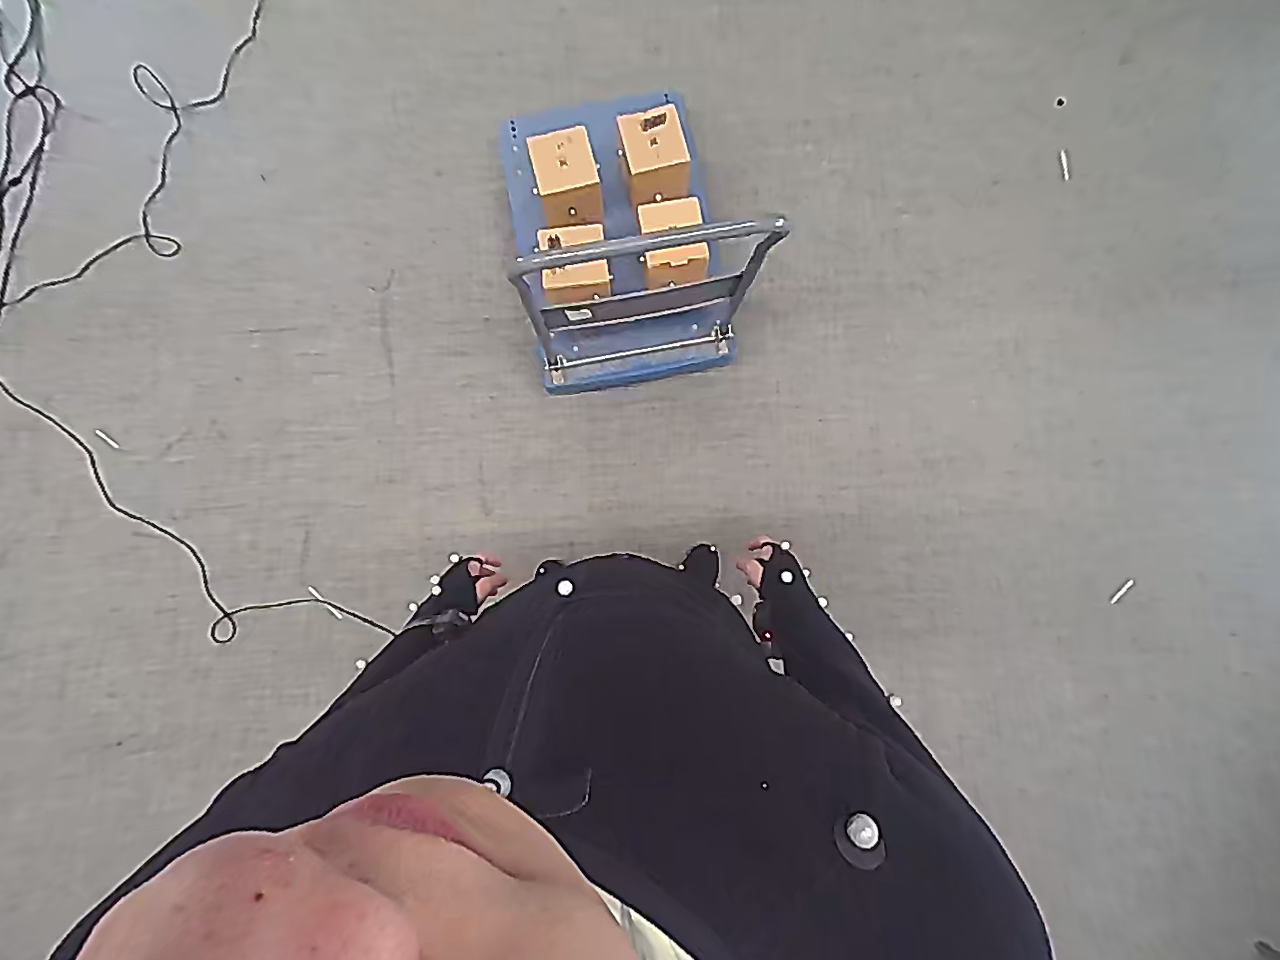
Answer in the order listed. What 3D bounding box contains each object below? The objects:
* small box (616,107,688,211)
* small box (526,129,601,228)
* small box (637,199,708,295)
[{"bbox_3d":[0.032,-0.913,1.549,0.168,0.176,0.179,-14,84,-1],"label":"small box"},{"bbox_3d":[-0.211,-0.848,1.541,0.168,0.176,0.179,-14,83,-3],"label":"small box"},{"bbox_3d":[0.084,-0.649,1.518,0.168,0.176,0.179,-10,83,-2],"label":"small box"}]
